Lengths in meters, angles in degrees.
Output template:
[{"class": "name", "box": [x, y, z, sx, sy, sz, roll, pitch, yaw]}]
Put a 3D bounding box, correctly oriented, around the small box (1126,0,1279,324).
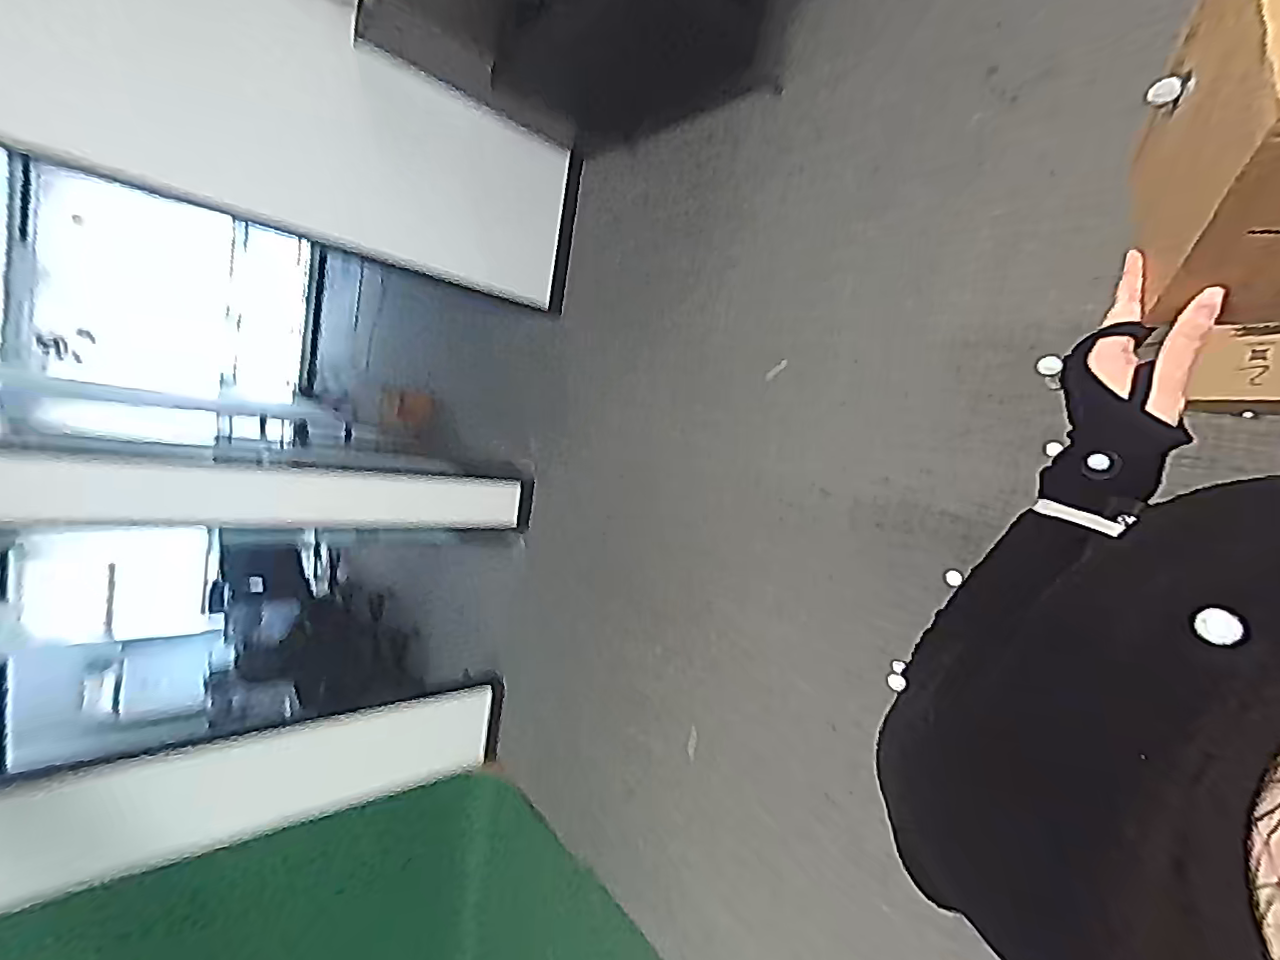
[{"class": "small box", "box": [0.425, -0.213, 0.316, 0.179, 0.168, 0.176, 6, 70, 27]}]
